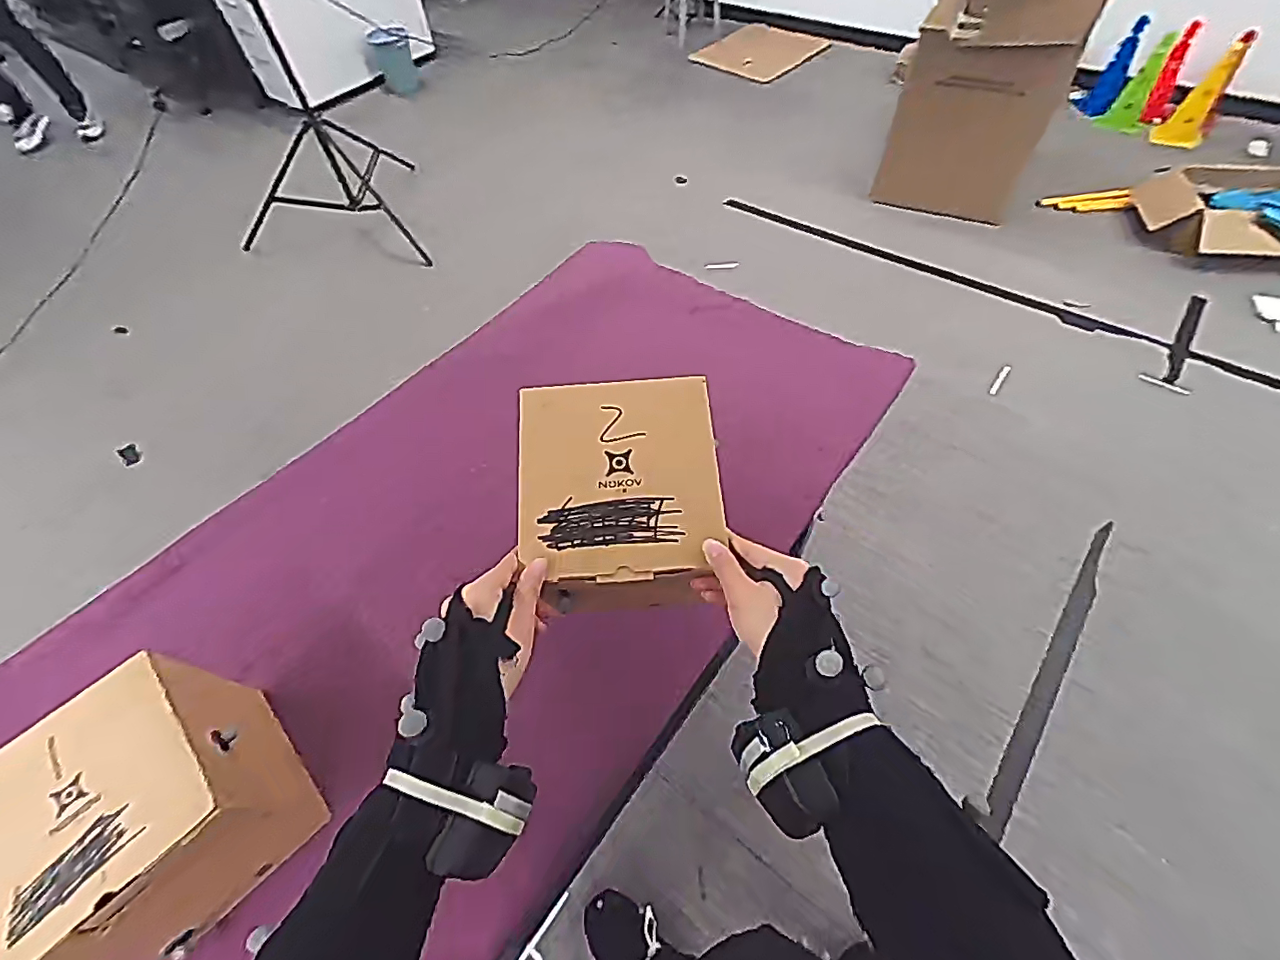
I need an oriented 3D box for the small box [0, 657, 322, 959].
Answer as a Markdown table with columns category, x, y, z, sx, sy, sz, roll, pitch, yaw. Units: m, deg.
| category | x | y | z | sx | sy | sz | roll | pitch | yaw |
| --- | --- | --- | --- | --- | --- | --- | --- | --- | --- |
| small box | -0.429 | 0.295 | 0.480 | 0.179 | 0.176 | 0.168 | 38 | 65 | 25 |
